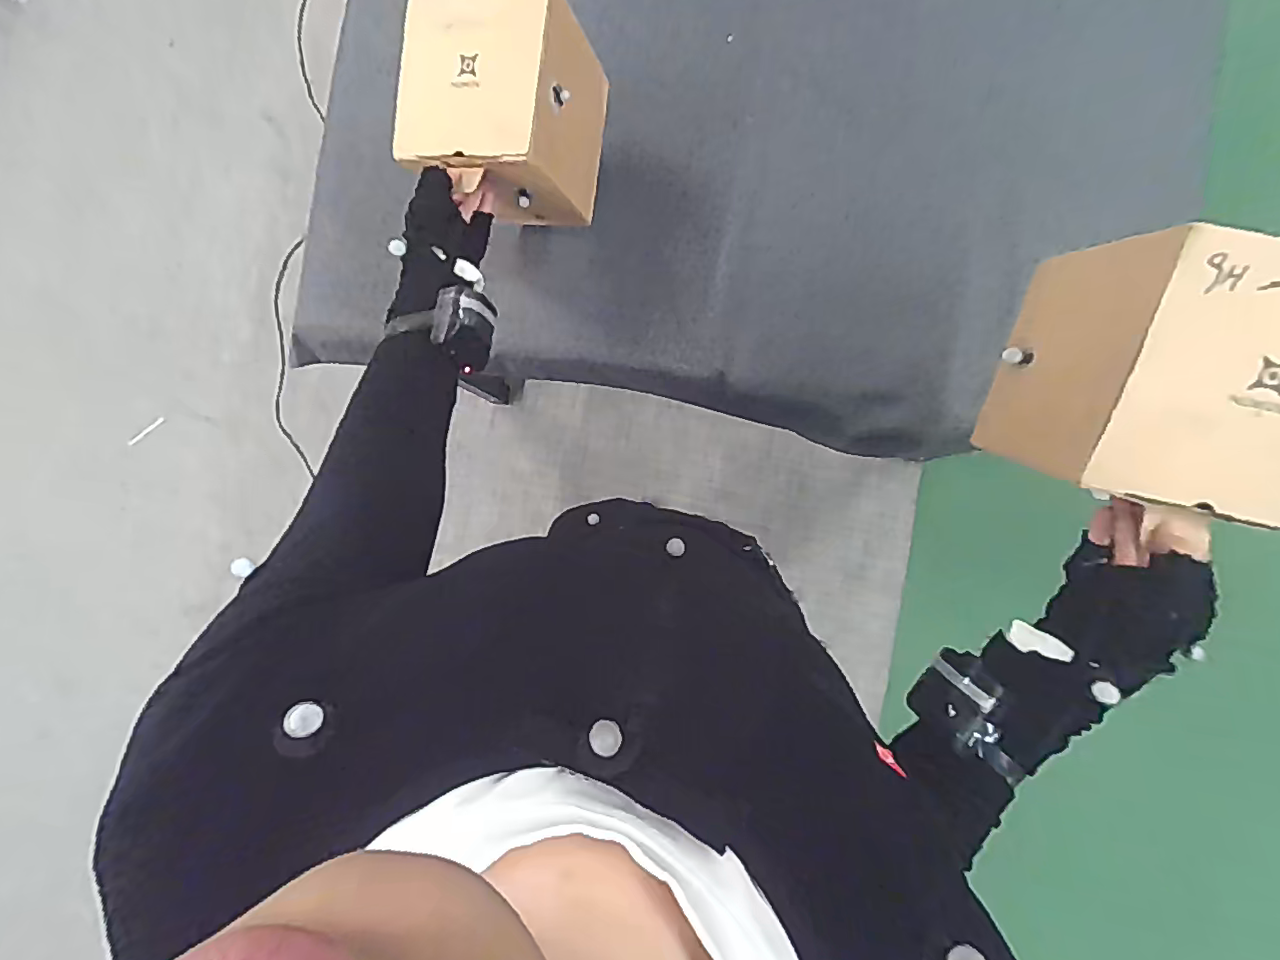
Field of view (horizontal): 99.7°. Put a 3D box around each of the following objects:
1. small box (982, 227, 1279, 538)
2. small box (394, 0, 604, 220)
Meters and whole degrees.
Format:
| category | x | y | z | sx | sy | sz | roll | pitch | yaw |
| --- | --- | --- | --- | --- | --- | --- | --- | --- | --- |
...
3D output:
| category | x | y | z | sx | sy | sz | roll | pitch | yaw |
| --- | --- | --- | --- | --- | --- | --- | --- | --- | --- |
| small box | 0.410 | -0.078 | 0.428 | 0.168 | 0.176 | 0.179 | 13 | 107 | 4 |
| small box | -0.150 | -0.420 | 0.622 | 0.168 | 0.176 | 0.179 | 9 | 94 | 15 |
